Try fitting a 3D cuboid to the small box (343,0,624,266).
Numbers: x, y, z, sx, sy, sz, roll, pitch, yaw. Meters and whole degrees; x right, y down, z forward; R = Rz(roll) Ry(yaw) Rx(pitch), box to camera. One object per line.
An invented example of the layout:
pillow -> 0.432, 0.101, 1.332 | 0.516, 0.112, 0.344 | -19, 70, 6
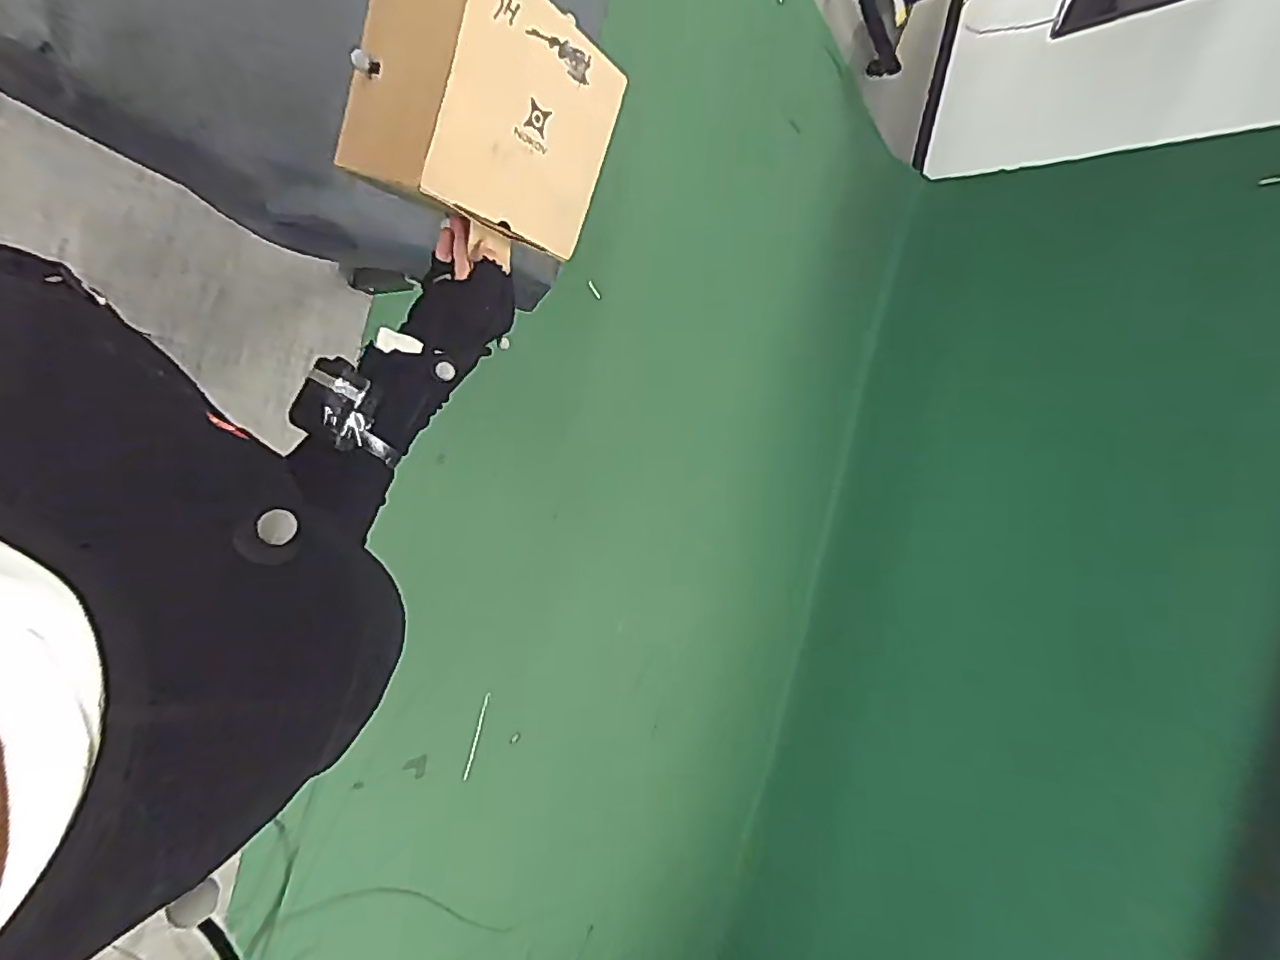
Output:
small box -> -0.151, -0.332, 0.508 | 0.168, 0.176, 0.179 | 3, 114, -54
